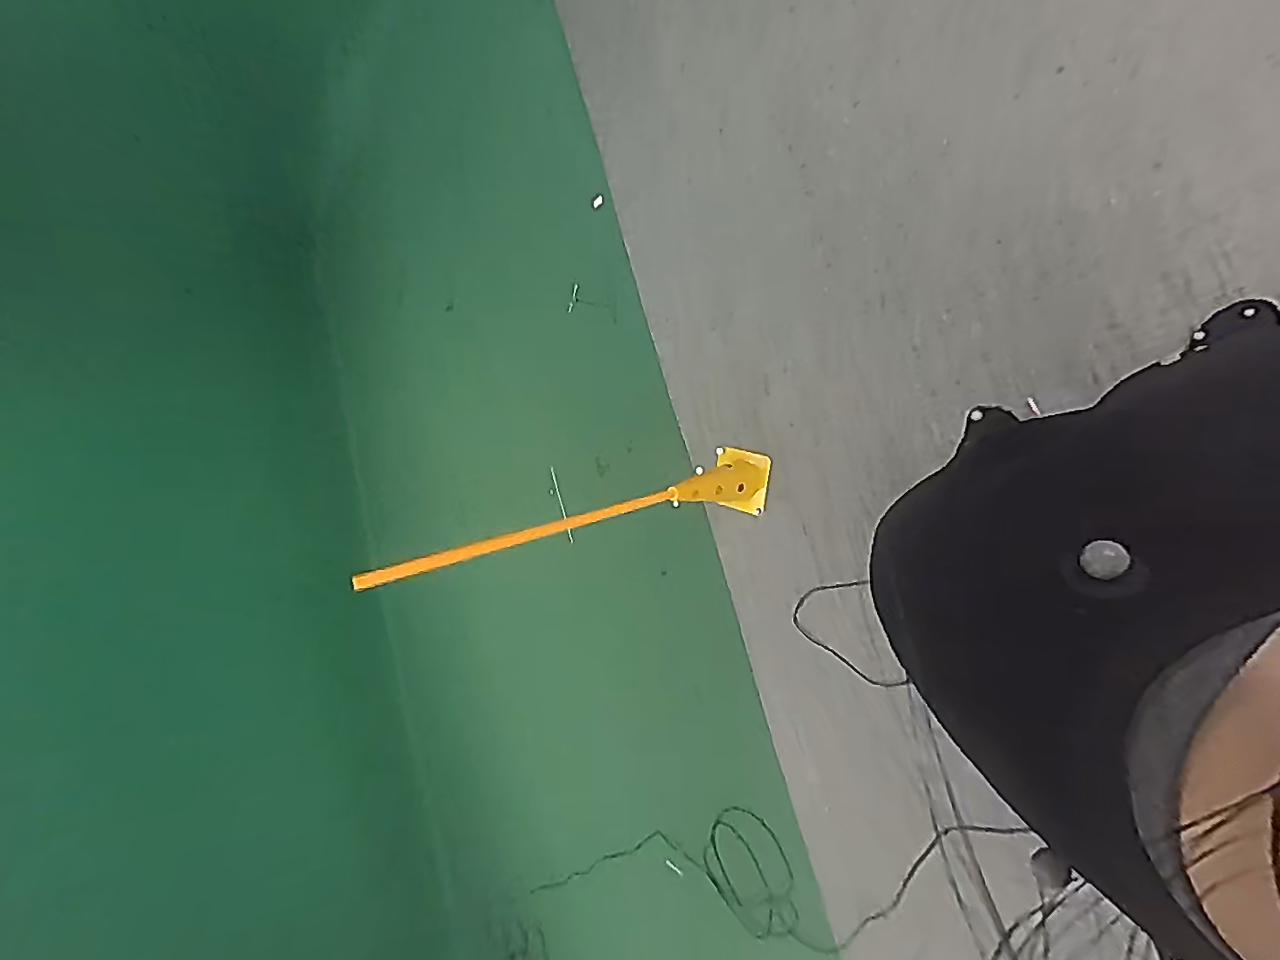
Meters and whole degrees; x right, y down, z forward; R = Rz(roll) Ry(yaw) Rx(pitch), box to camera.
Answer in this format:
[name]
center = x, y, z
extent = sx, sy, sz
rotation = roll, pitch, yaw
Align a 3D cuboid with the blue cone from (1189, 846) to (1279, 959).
[blue cone]
center = 1.124, 0.845, 0.923
extent = 0.193, 0.380, 0.192
rotation = 34, 117, 32
